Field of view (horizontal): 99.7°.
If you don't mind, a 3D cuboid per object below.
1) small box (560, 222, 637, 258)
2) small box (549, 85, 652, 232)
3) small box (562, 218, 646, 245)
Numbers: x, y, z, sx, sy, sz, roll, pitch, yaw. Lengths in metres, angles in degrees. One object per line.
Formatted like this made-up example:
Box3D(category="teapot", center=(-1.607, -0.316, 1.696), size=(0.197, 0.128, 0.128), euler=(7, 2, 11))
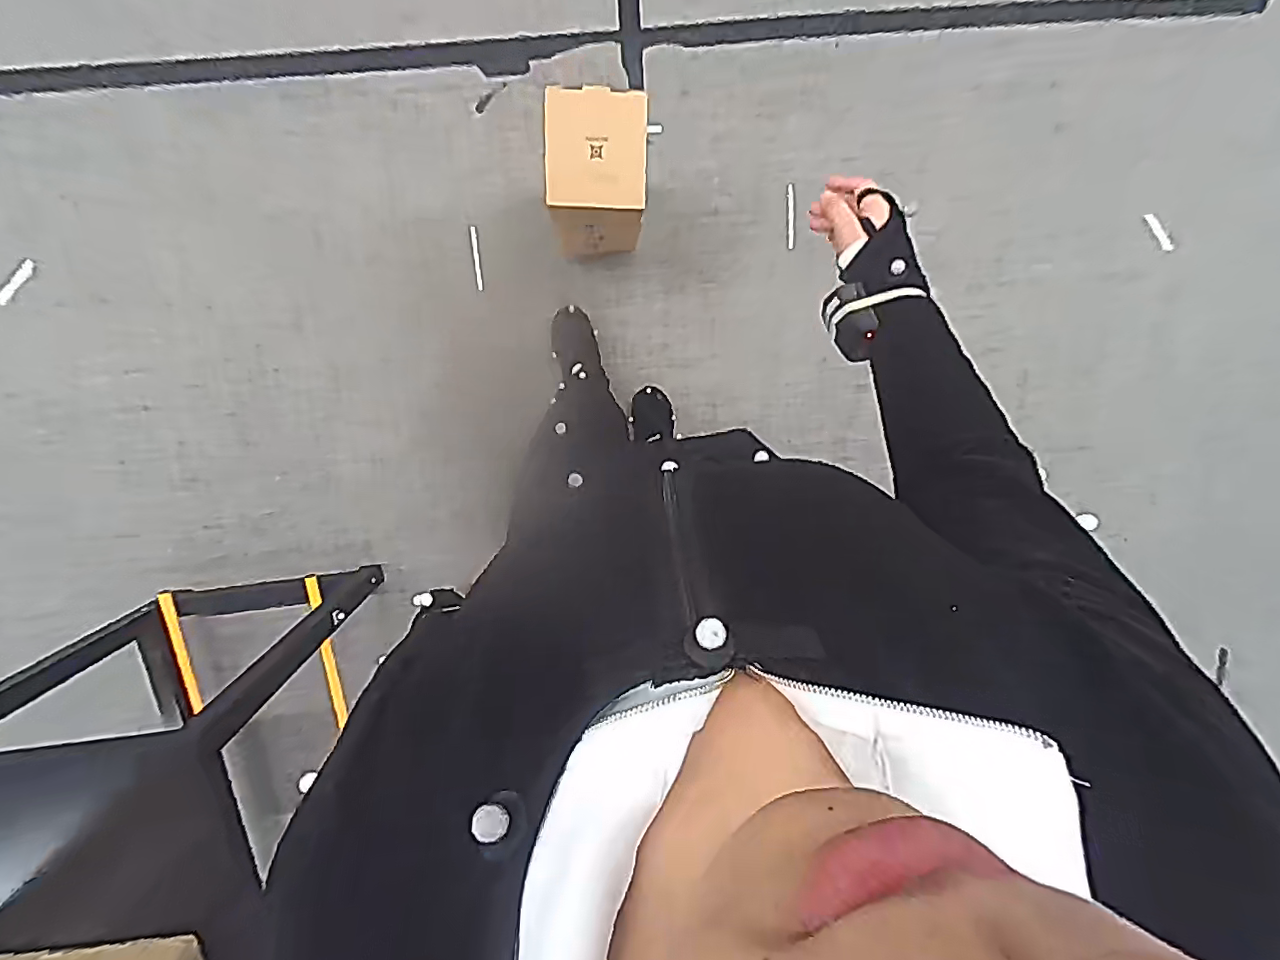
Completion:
Box3D(category="small box", center=(-0.098, -0.627, 1.259), size=(0.179, 0.176, 0.168), euler=(-9, 104, -3))
Box3D(category="small box", center=(-0.070, -0.548, 0.943), size=(0.168, 0.176, 0.179), euler=(0, 104, -3))
Box3D(category="small box", center=(-0.081, -0.591, 1.099), size=(0.168, 0.176, 0.179), euler=(-5, 104, -3))
